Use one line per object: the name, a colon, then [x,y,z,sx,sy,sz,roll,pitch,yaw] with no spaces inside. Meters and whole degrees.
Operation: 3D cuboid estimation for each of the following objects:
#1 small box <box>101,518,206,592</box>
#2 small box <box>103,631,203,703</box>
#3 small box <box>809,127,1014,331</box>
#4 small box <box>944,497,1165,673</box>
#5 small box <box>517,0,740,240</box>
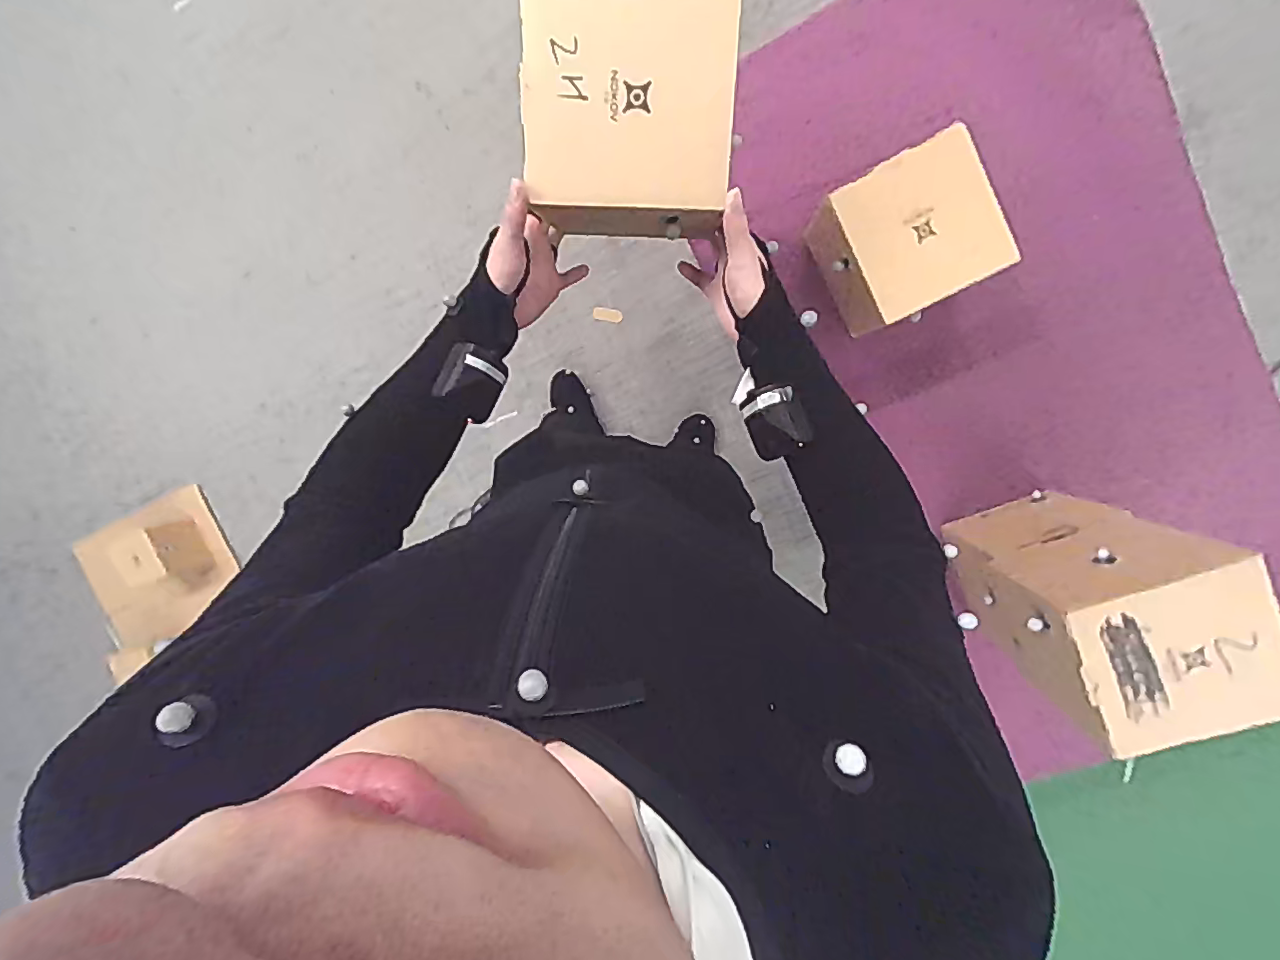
small box: [-1.613,0.245,1.805,0.168,0.176,0.179,-22,96,10]
small box: [-1.678,0.639,1.873,0.168,0.176,0.179,-14,96,10]
small box: [0.346,-0.313,0.725,0.168,0.176,0.179,-26,94,11]
small box: [0.564,0.134,0.763,0.168,0.176,0.179,-21,96,11]
small box: [-0.009,-0.331,0.514,0.179,0.176,0.168,3,106,3]
